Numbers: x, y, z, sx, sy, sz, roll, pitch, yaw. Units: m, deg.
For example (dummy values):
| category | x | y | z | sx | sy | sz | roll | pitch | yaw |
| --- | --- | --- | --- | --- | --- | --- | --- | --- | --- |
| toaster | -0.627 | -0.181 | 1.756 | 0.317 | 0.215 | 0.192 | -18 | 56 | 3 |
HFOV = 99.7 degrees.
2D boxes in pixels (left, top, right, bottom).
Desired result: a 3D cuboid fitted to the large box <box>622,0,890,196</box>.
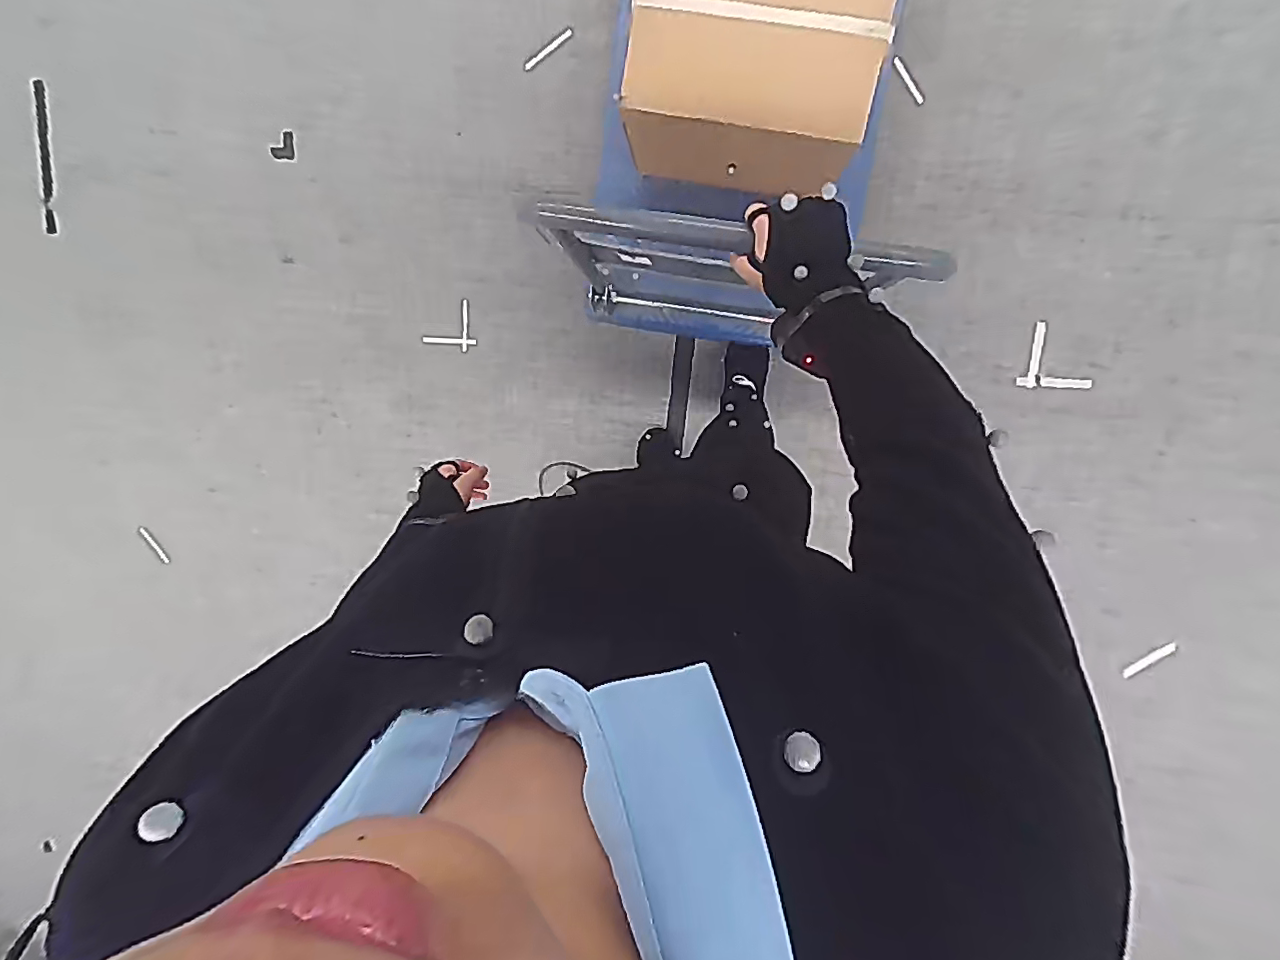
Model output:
| category | x | y | z | sx | sy | sz | roll | pitch | yaw |
| --- | --- | --- | --- | --- | --- | --- | --- | --- | --- |
| large box | 0.207 | -0.764 | 1.013 | 0.408 | 0.320 | 0.320 | 11 | 101 | 5 |
